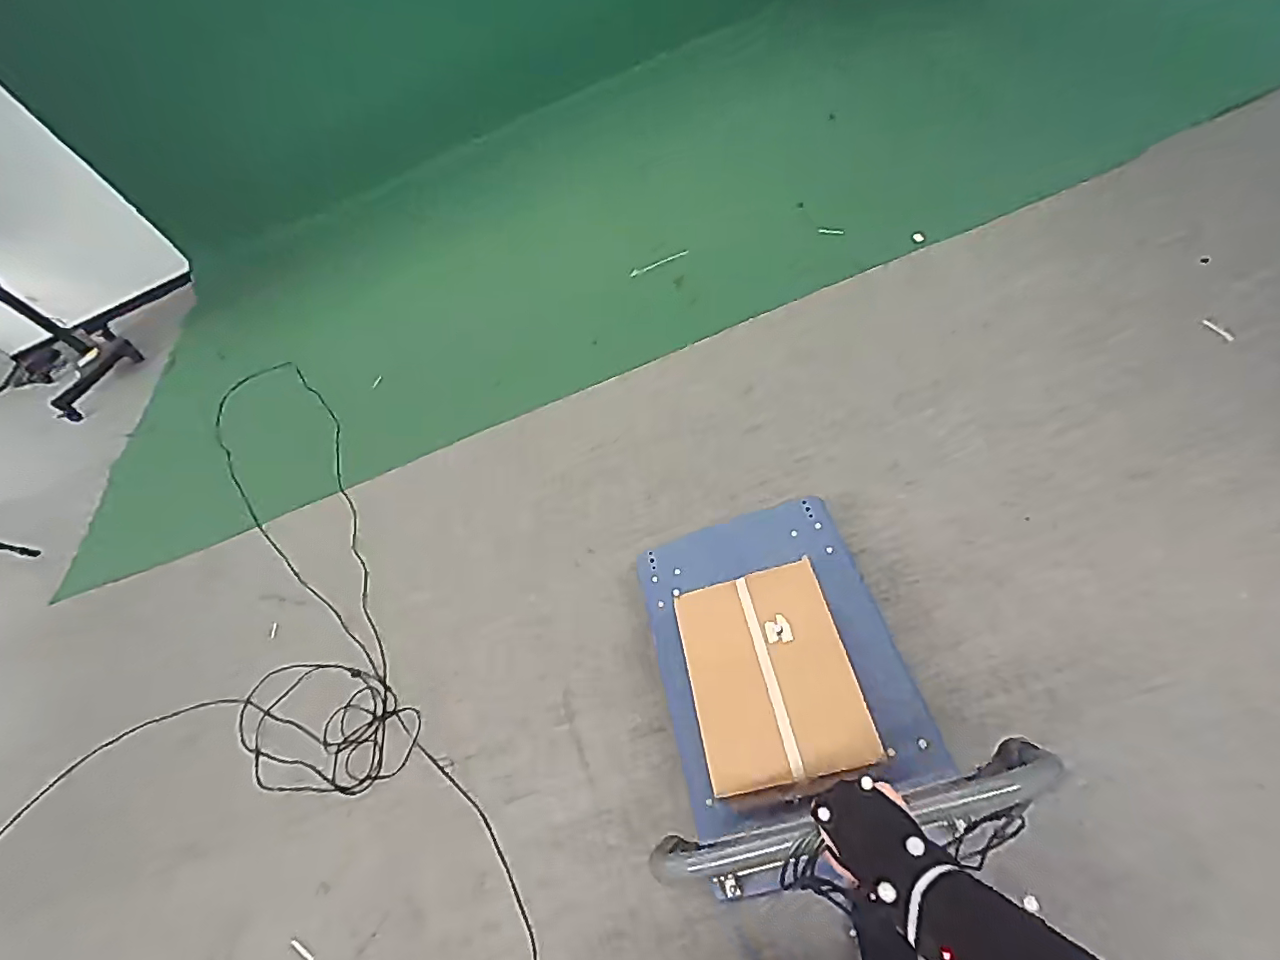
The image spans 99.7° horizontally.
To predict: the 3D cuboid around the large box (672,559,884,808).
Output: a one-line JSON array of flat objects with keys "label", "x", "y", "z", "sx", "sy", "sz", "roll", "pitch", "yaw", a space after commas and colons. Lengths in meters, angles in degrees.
[{"label": "large box", "x": 0.291, "y": 0.450, "z": 1.185, "sx": 0.320, "sy": 0.320, "sz": 0.408, "roll": -17, "pitch": 52, "yaw": 8}]
